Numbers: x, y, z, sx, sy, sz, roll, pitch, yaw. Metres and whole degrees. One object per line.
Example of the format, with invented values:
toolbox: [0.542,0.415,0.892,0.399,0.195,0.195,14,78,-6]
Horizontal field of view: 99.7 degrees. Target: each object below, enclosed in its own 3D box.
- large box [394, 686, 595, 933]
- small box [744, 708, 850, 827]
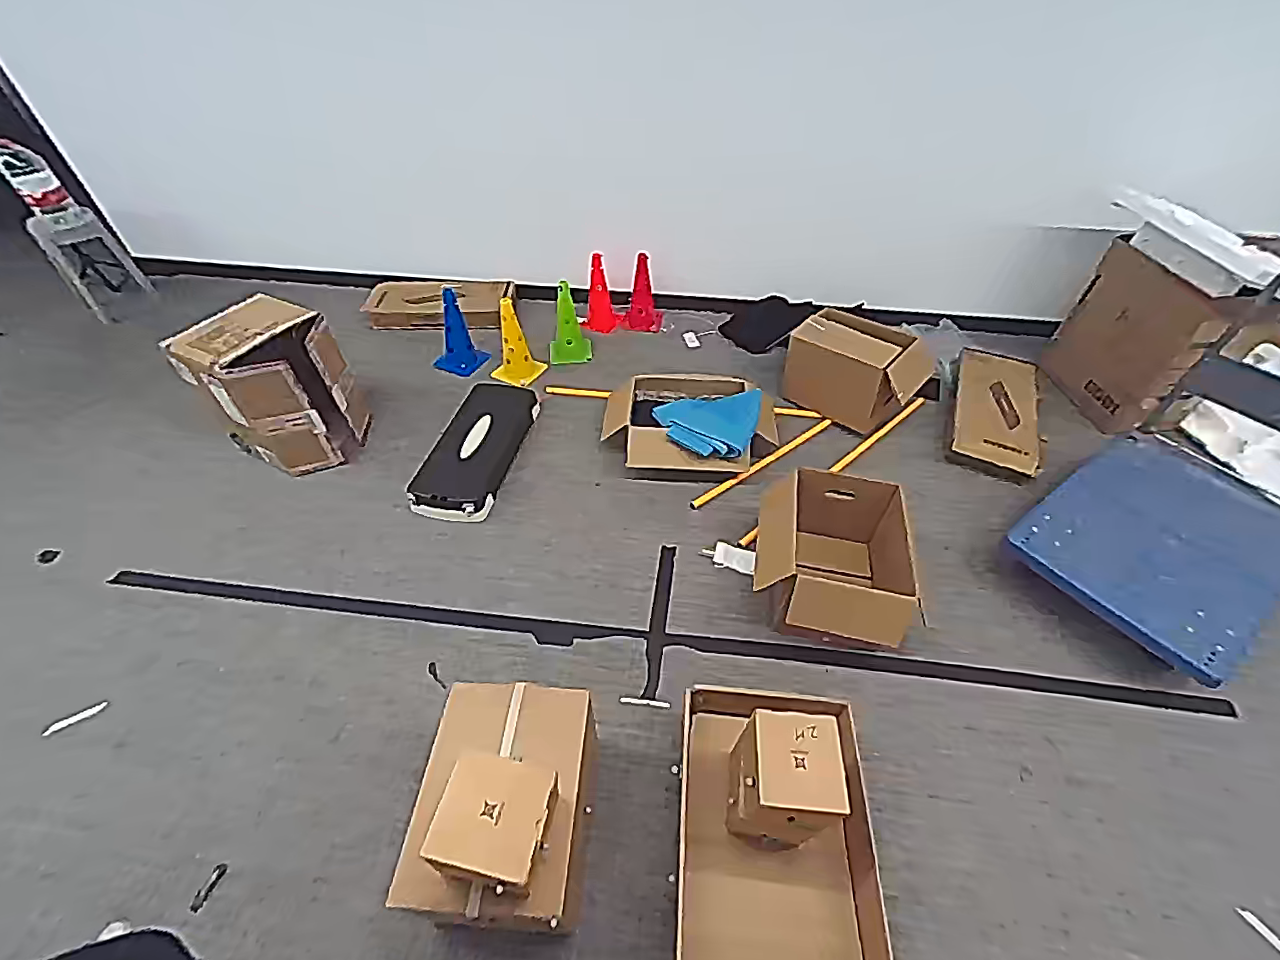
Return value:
large box: [-0.271,0.708,1.174,0.320,0.320,0.408,2,48,2]
small box: [0.307,0.586,1.095,0.168,0.176,0.179,5,49,2]
